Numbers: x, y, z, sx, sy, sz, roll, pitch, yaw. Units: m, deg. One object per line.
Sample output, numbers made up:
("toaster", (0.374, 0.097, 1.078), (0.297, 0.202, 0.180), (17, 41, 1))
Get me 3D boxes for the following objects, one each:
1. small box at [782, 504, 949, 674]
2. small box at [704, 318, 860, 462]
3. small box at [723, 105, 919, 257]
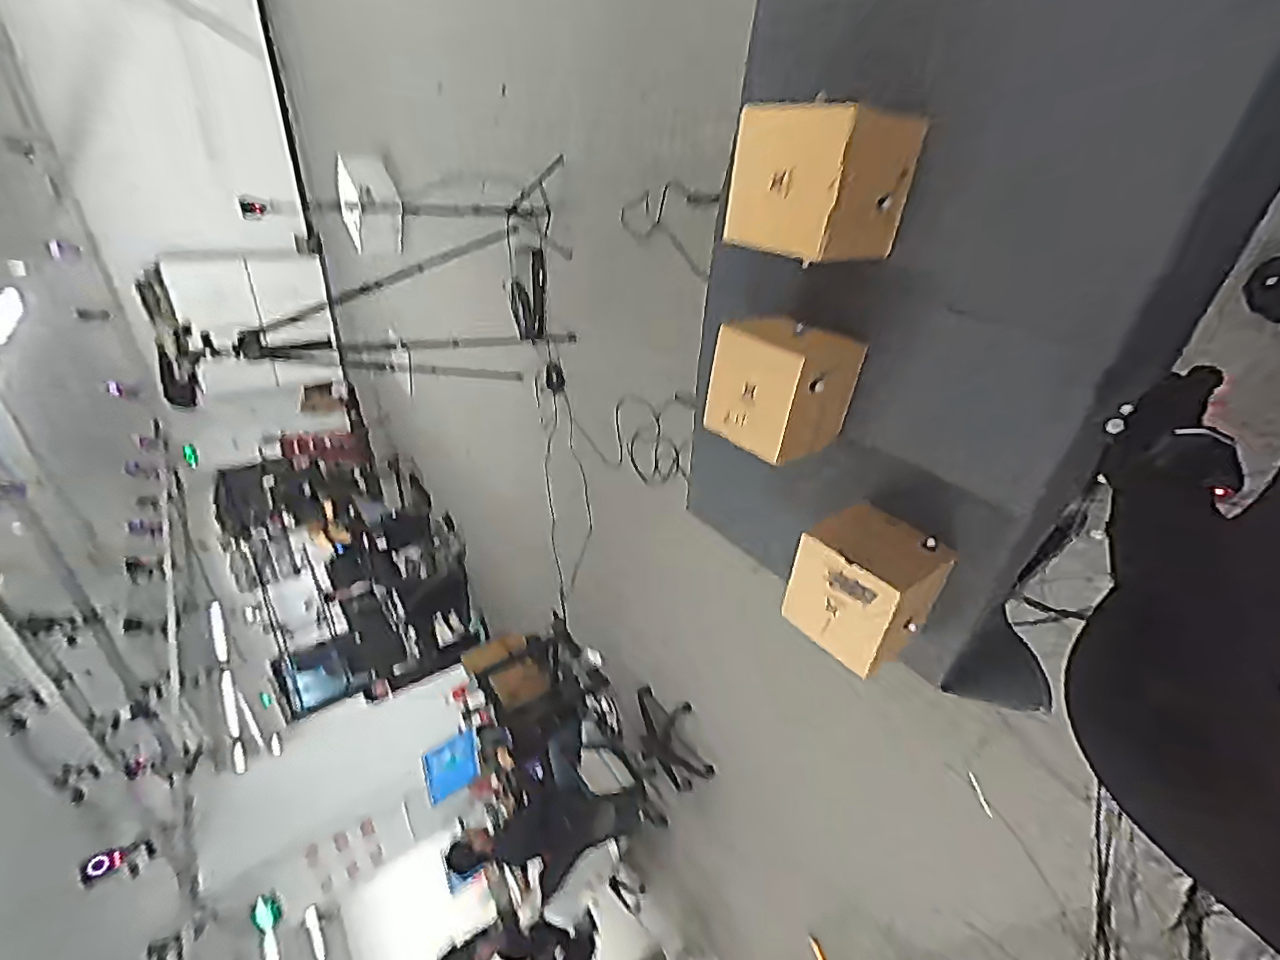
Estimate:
("small box", (0.359, 0.162, 0.865), (0.168, 0.176, 0.179), (36, 133, 41))
("small box", (0.232, -0.158, 0.890), (0.168, 0.176, 0.179), (37, 133, 39))
("small box", (0.246, -0.414, 0.756), (0.179, 0.176, 0.168), (35, 132, 40))
